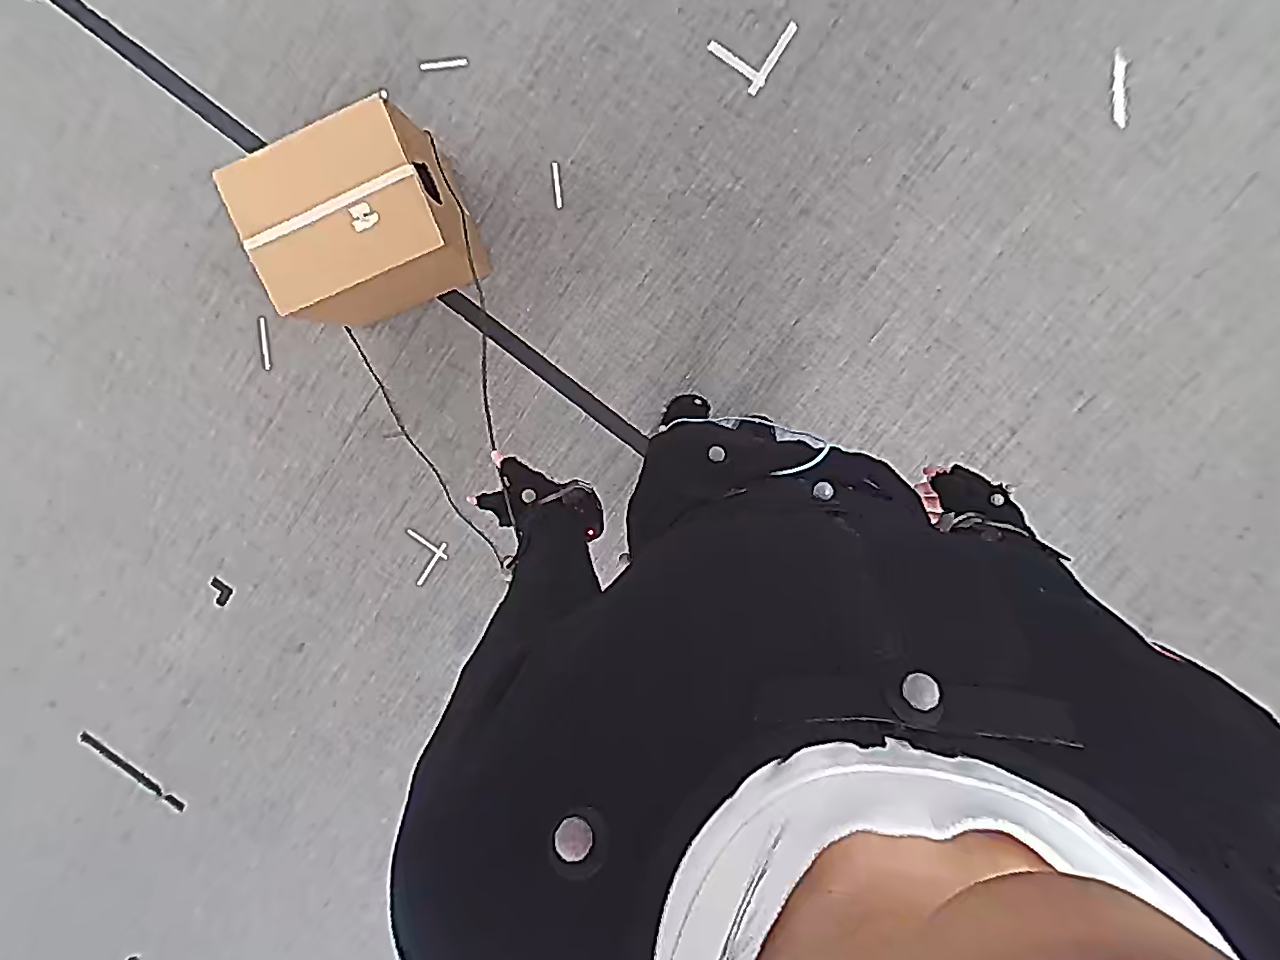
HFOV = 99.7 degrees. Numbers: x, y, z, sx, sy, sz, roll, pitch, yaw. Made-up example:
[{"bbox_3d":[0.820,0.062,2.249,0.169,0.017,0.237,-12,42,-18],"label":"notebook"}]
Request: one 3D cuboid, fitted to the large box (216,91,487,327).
[{"bbox_3d":[-0.638,-0.591,1.264,0.408,0.320,0.320,-20,99,6],"label":"large box"}]
